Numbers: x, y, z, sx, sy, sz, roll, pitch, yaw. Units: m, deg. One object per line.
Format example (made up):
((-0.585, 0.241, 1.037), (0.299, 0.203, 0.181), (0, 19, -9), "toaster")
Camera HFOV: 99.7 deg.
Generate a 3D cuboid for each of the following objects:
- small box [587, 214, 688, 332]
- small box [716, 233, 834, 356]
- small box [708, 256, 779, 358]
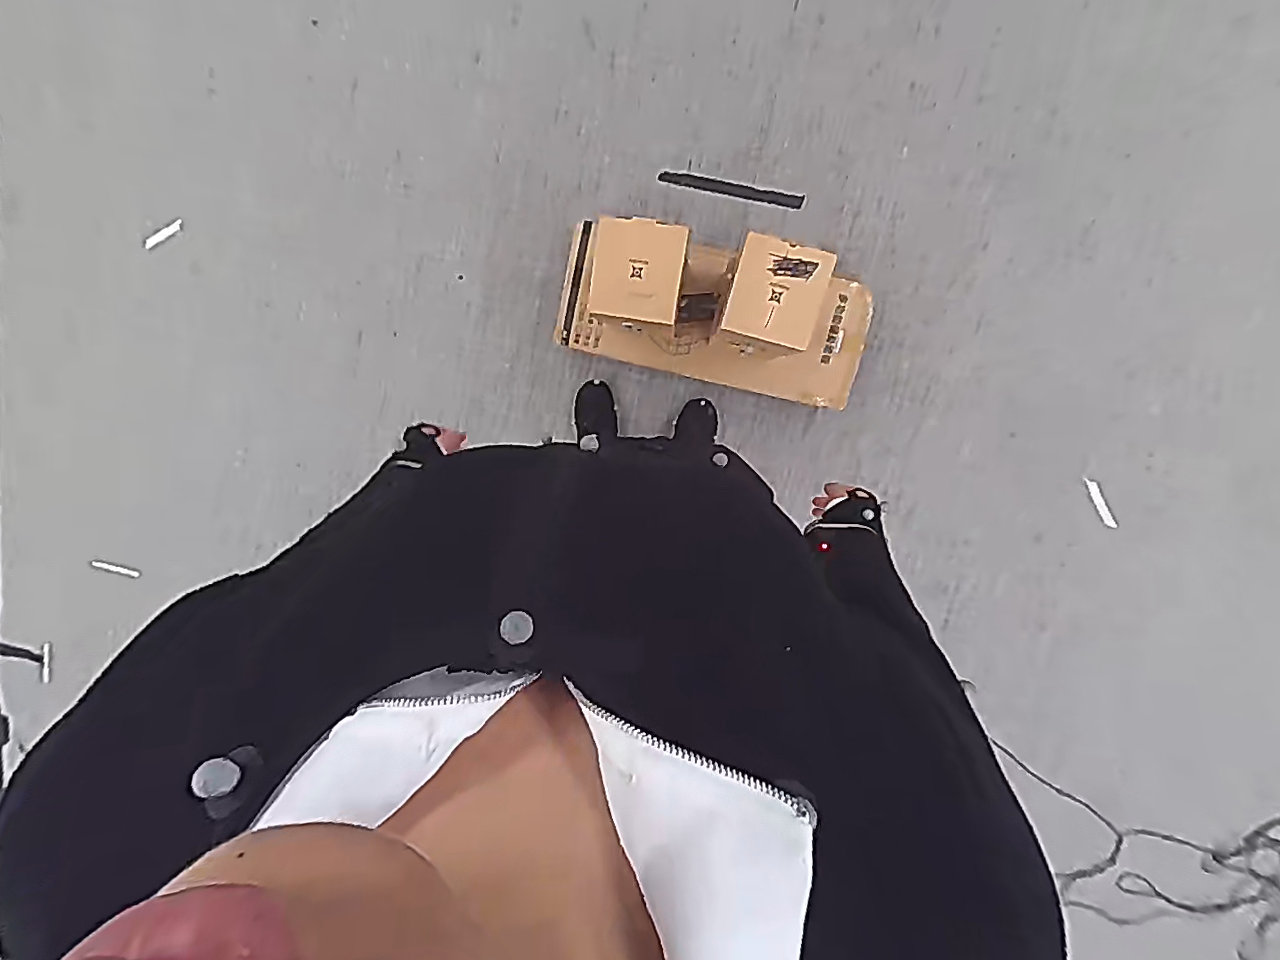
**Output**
((-0.002, -0.398, 1.065), (0.168, 0.176, 0.179), (9, 101, 3), "small box")
((0.250, -0.351, 1.056), (0.168, 0.176, 0.179), (16, 101, 1), "small box")
((0.253, -0.380, 1.218), (0.168, 0.176, 0.179), (13, 101, 2), "small box")
